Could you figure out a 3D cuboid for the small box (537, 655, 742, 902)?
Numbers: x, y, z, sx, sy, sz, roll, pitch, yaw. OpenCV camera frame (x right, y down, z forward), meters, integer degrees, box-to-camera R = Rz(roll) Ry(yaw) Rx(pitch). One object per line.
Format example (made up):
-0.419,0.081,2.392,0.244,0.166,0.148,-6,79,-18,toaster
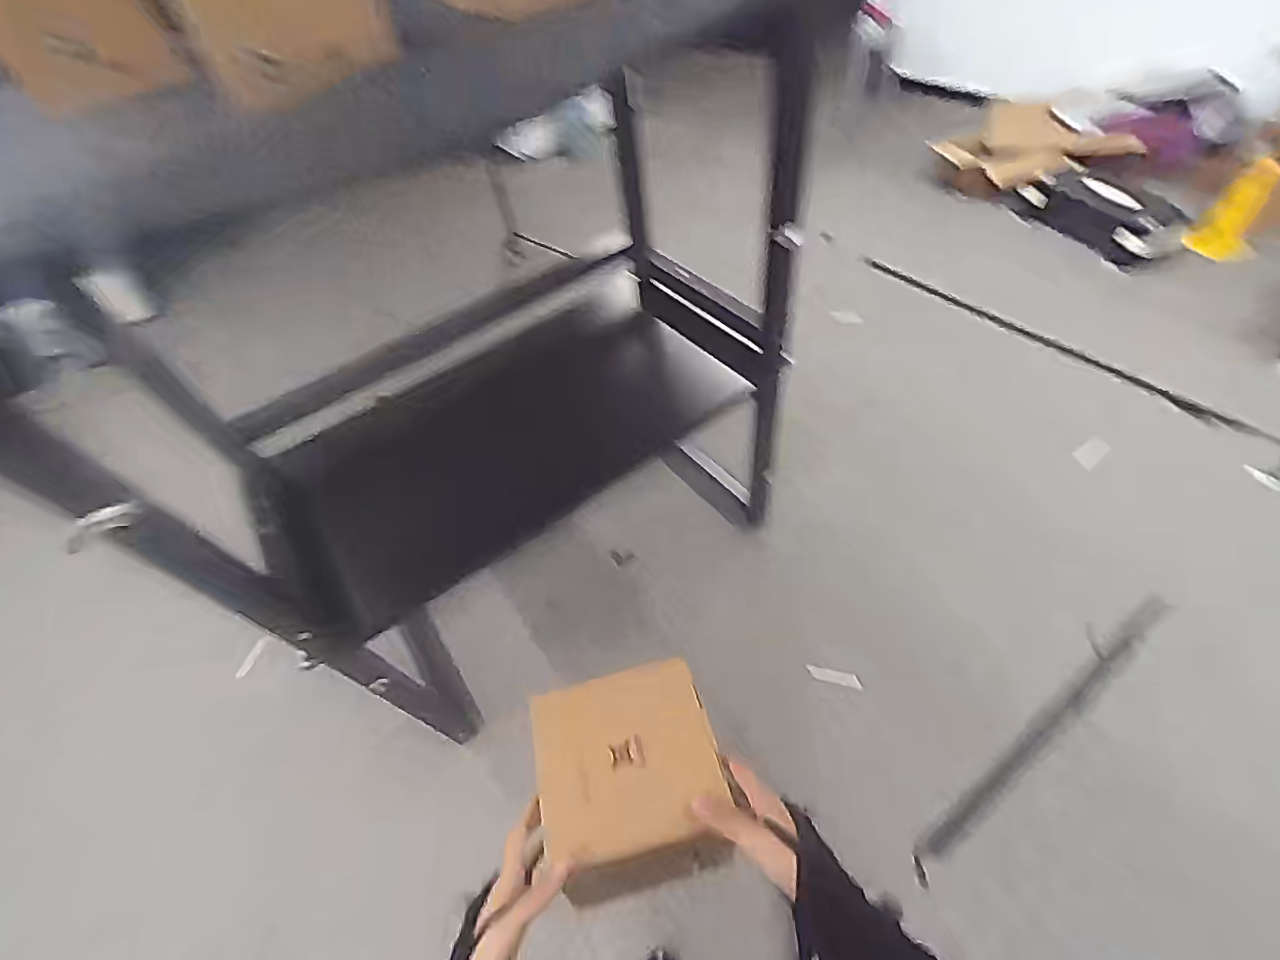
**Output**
-0.004,0.318,0.578,0.179,0.176,0.168,-12,43,-6,small box

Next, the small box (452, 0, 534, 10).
-0.165,-0.688,0.641,0.168,0.176,0.179,-34,54,-16,small box
